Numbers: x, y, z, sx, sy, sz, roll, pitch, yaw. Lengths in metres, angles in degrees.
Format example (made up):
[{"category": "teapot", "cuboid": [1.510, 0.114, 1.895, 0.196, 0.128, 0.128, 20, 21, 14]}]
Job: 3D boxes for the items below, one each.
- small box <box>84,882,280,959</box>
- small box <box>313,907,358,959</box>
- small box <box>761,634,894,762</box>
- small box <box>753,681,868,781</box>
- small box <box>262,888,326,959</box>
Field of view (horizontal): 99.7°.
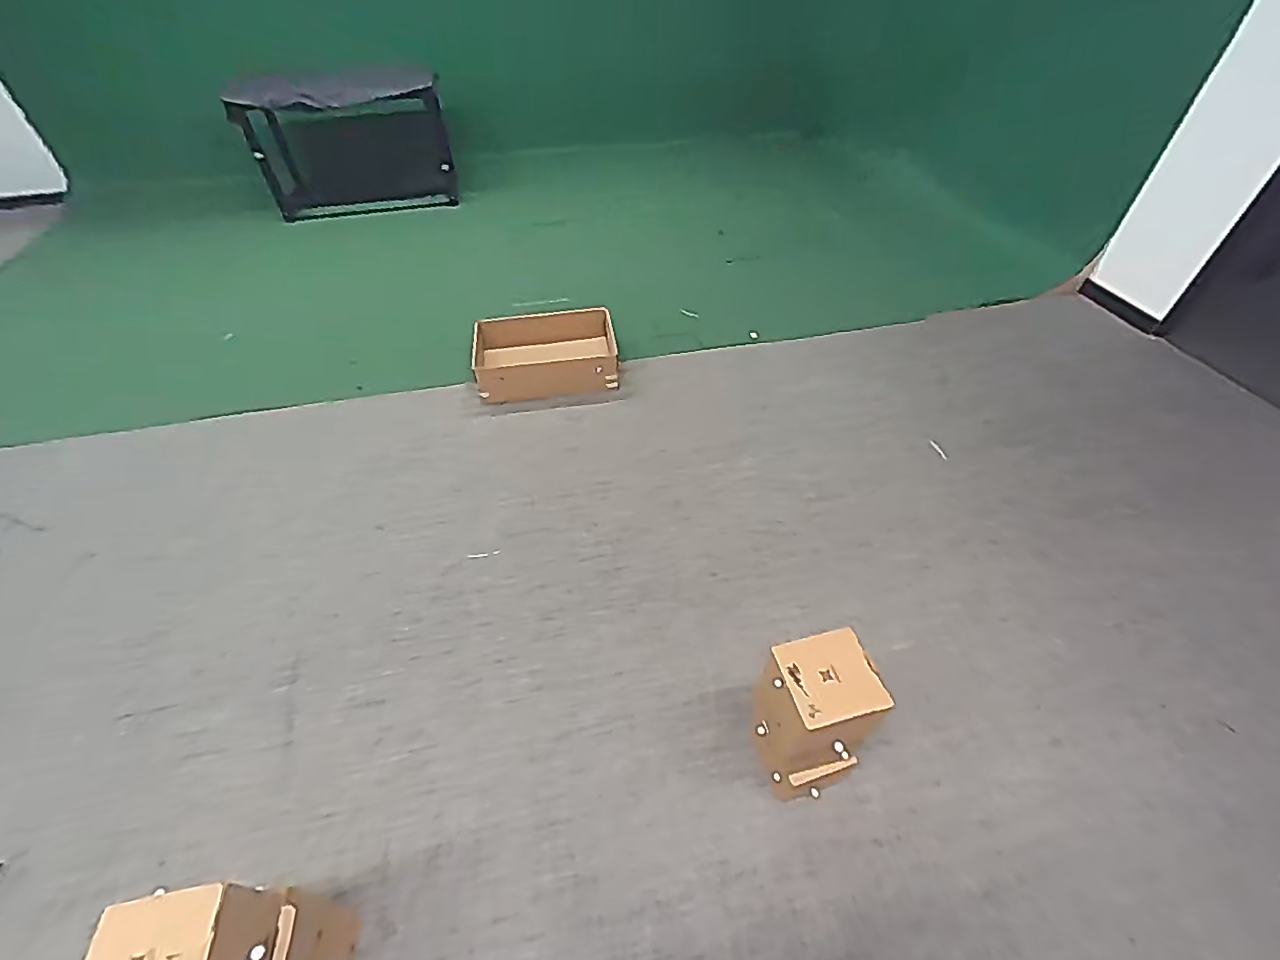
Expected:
[{"category": "small box", "cuboid": [-0.692, 0.731, 0.811, 0.179, 0.176, 0.168, -8, 47, -5]}, {"category": "small box", "cuboid": [-0.678, 0.955, 1.052, 0.179, 0.176, 0.168, -8, 47, -5]}, {"category": "small box", "cuboid": [0.361, 0.435, 1.077, 0.179, 0.176, 0.168, -10, 46, -9]}, {"category": "small box", "cuboid": [0.368, 0.542, 1.201, 0.179, 0.176, 0.168, -11, 46, -7]}, {"category": "small box", "cuboid": [-0.685, 0.834, 0.940, 0.179, 0.176, 0.168, -8, 47, -4]}]
